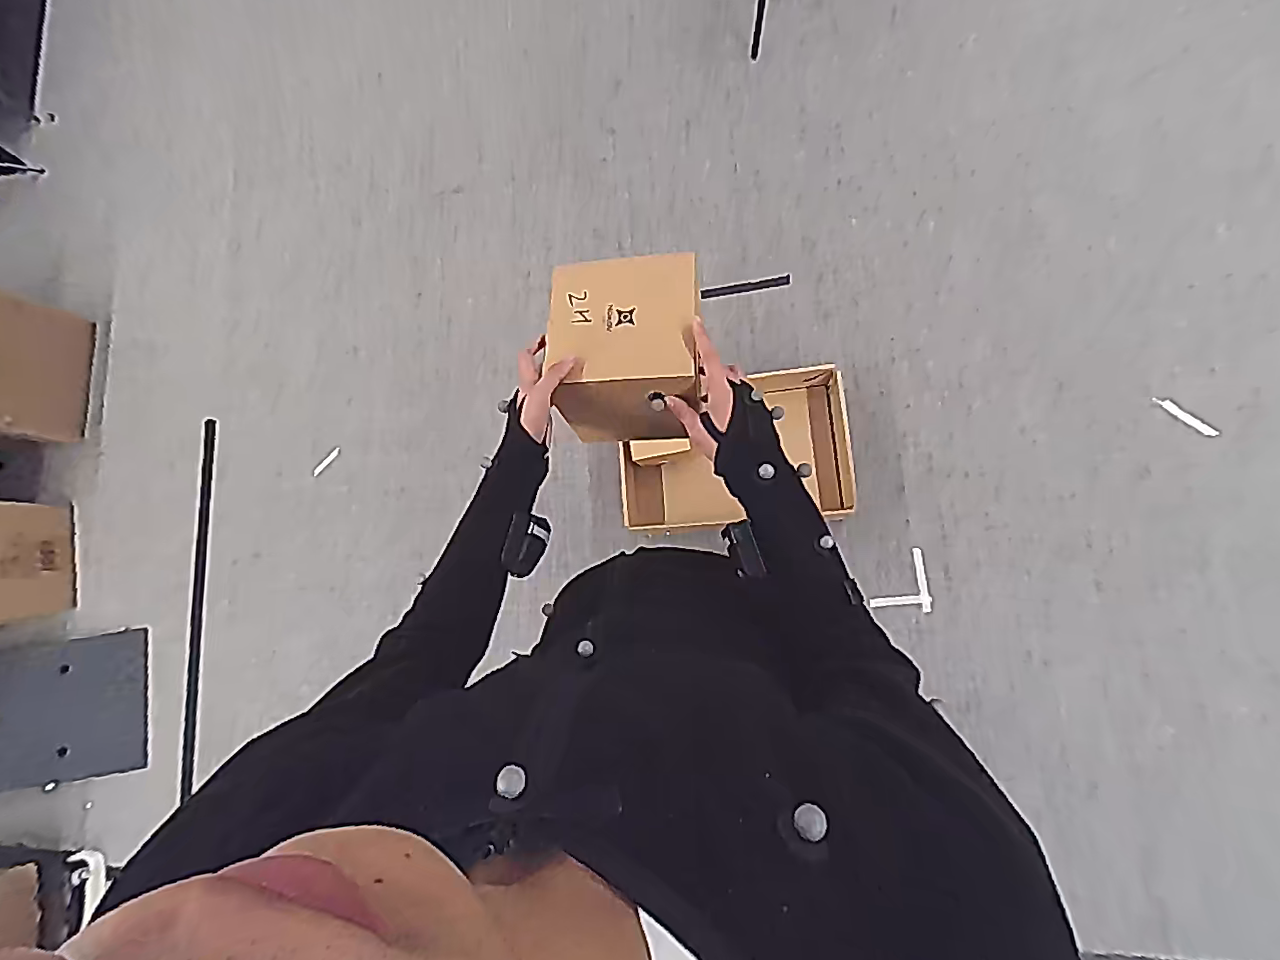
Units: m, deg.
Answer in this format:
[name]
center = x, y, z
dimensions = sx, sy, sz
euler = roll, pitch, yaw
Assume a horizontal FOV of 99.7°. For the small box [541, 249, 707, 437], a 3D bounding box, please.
[small box]
center = -0.007, -0.161, 0.683
dimensions = 0.179, 0.176, 0.168
euler = -1, 71, 11
